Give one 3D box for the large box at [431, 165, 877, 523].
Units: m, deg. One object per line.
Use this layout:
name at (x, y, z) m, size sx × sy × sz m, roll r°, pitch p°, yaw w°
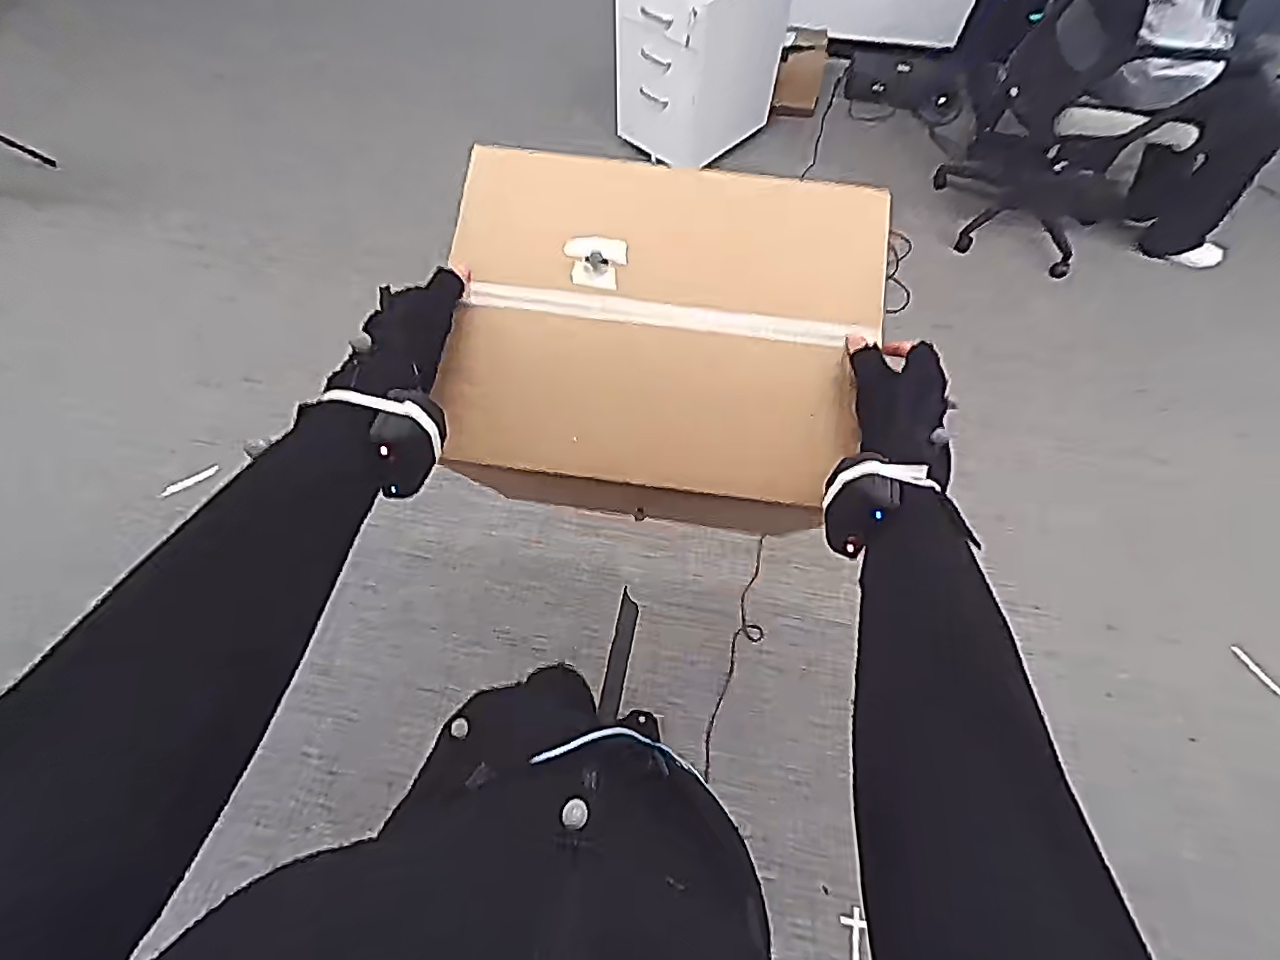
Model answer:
large box at (0.025, -0.126, 0.661) m, size 0.408 × 0.320 × 0.320 m, roll 7°, pitch 81°, yaw 3°
